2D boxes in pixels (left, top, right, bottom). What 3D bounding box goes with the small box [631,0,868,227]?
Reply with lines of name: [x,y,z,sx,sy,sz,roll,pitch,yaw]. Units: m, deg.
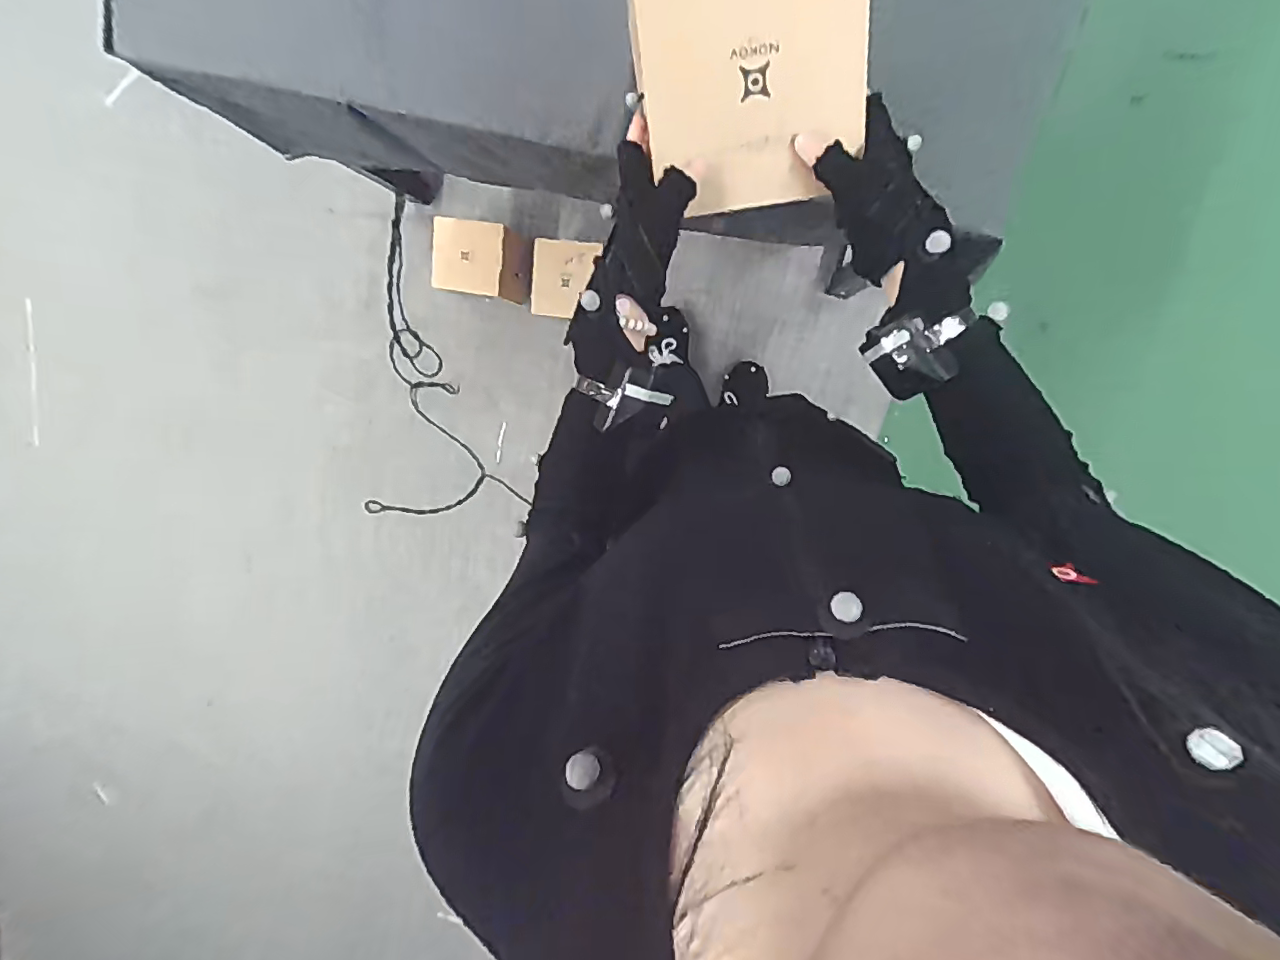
small box: [0.082,-0.325,0.470,0.168,0.176,0.179,-7,116,4]
